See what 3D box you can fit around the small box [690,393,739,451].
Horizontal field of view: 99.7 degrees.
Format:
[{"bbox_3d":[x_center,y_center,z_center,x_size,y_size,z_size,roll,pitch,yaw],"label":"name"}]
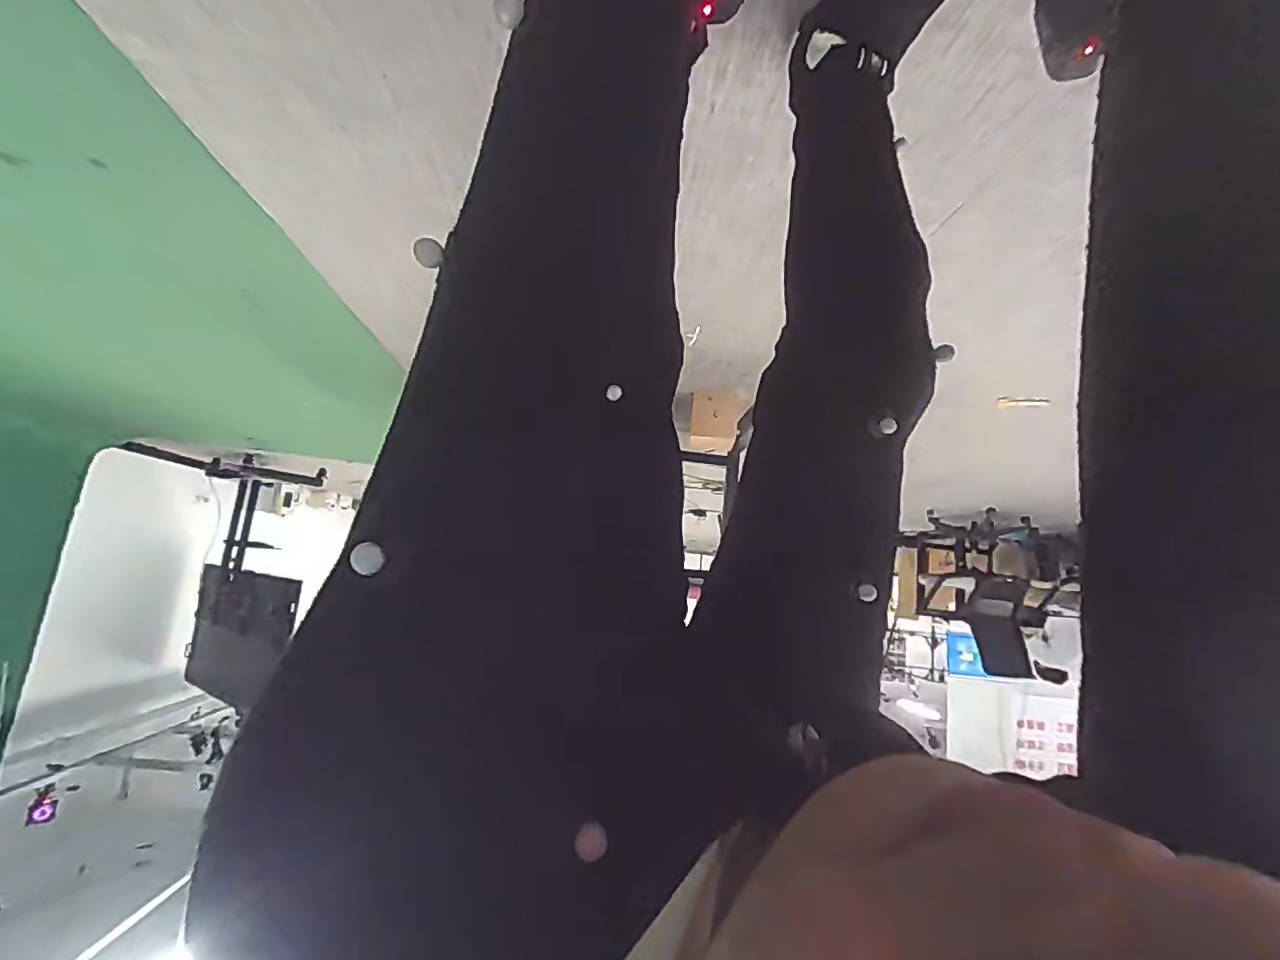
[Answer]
[{"bbox_3d":[0.273,-0.214,2.004,0.168,0.176,0.179,5,170,4],"label":"small box"}]
